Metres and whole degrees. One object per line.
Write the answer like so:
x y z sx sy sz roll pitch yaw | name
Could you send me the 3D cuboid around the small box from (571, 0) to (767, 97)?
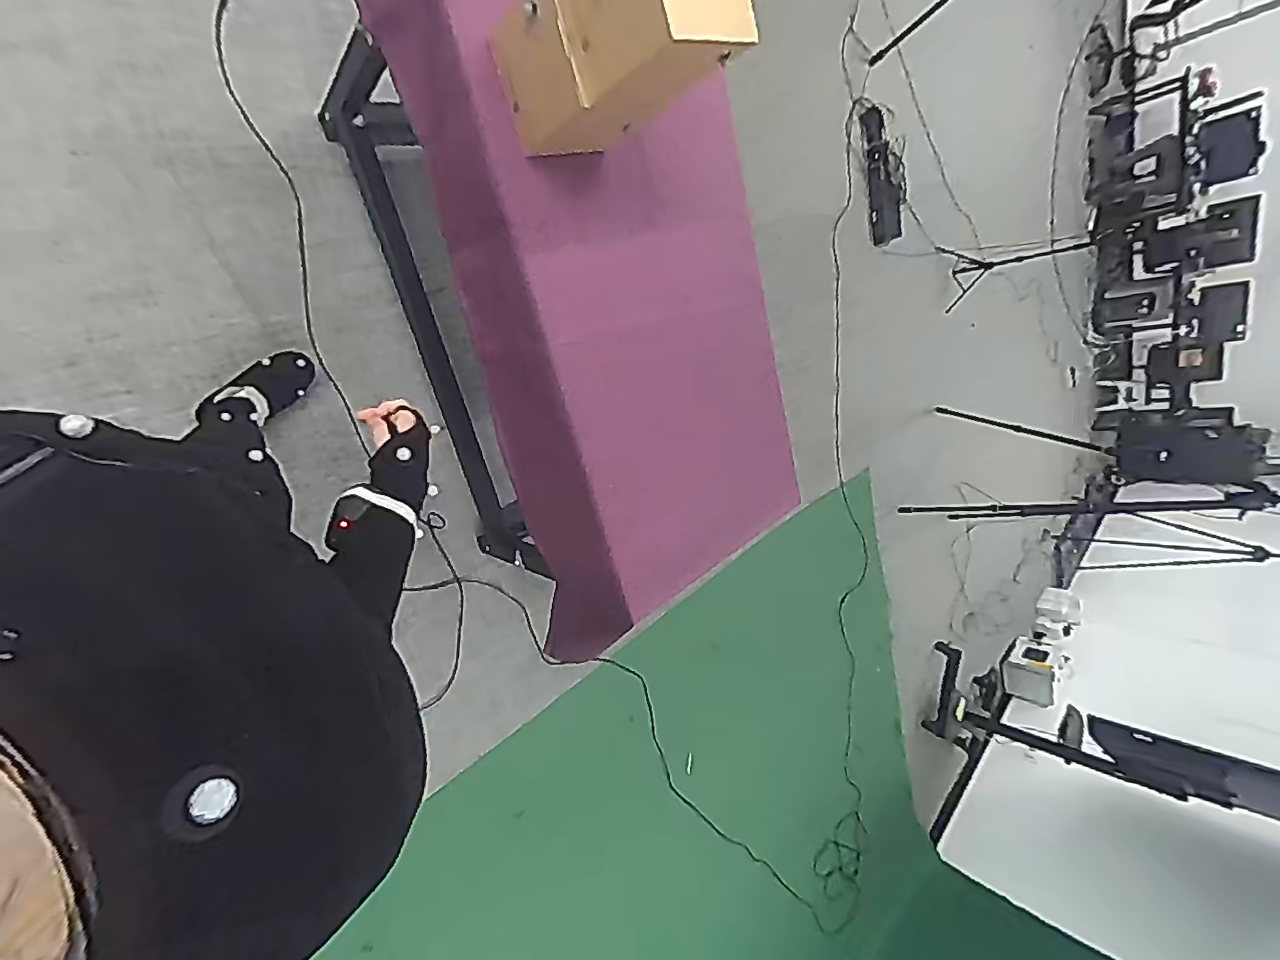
0.027 -0.610 0.677 0.179 0.176 0.168 -33 115 -34 | small box
